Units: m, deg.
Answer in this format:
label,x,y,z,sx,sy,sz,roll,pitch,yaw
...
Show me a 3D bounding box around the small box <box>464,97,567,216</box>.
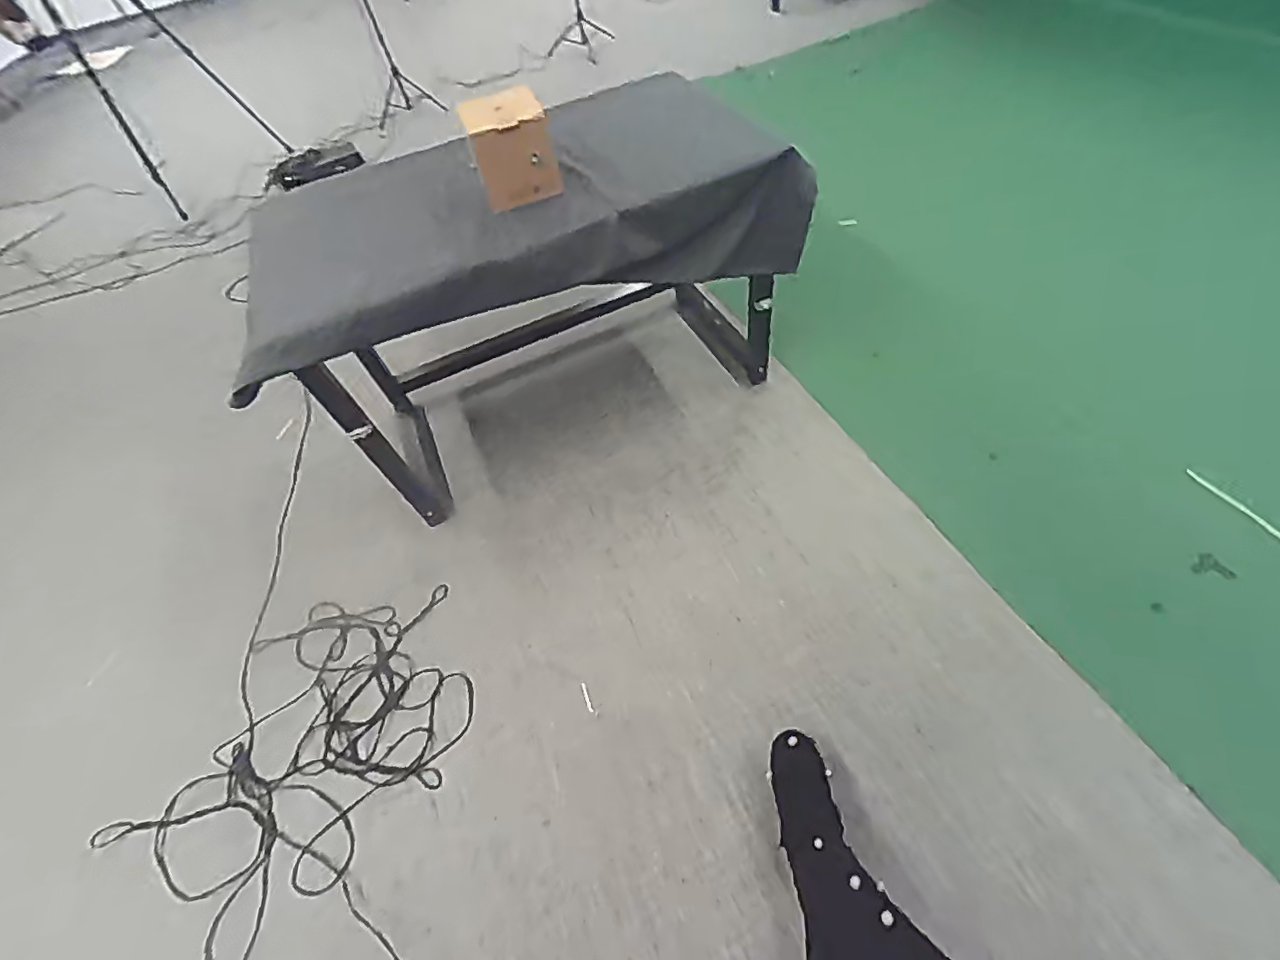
label,x,y,z,sx,sy,sz,roll,pitch,yaw
small box,-0.276,-0.719,1.215,0.168,0.176,0.179,-20,52,-7
